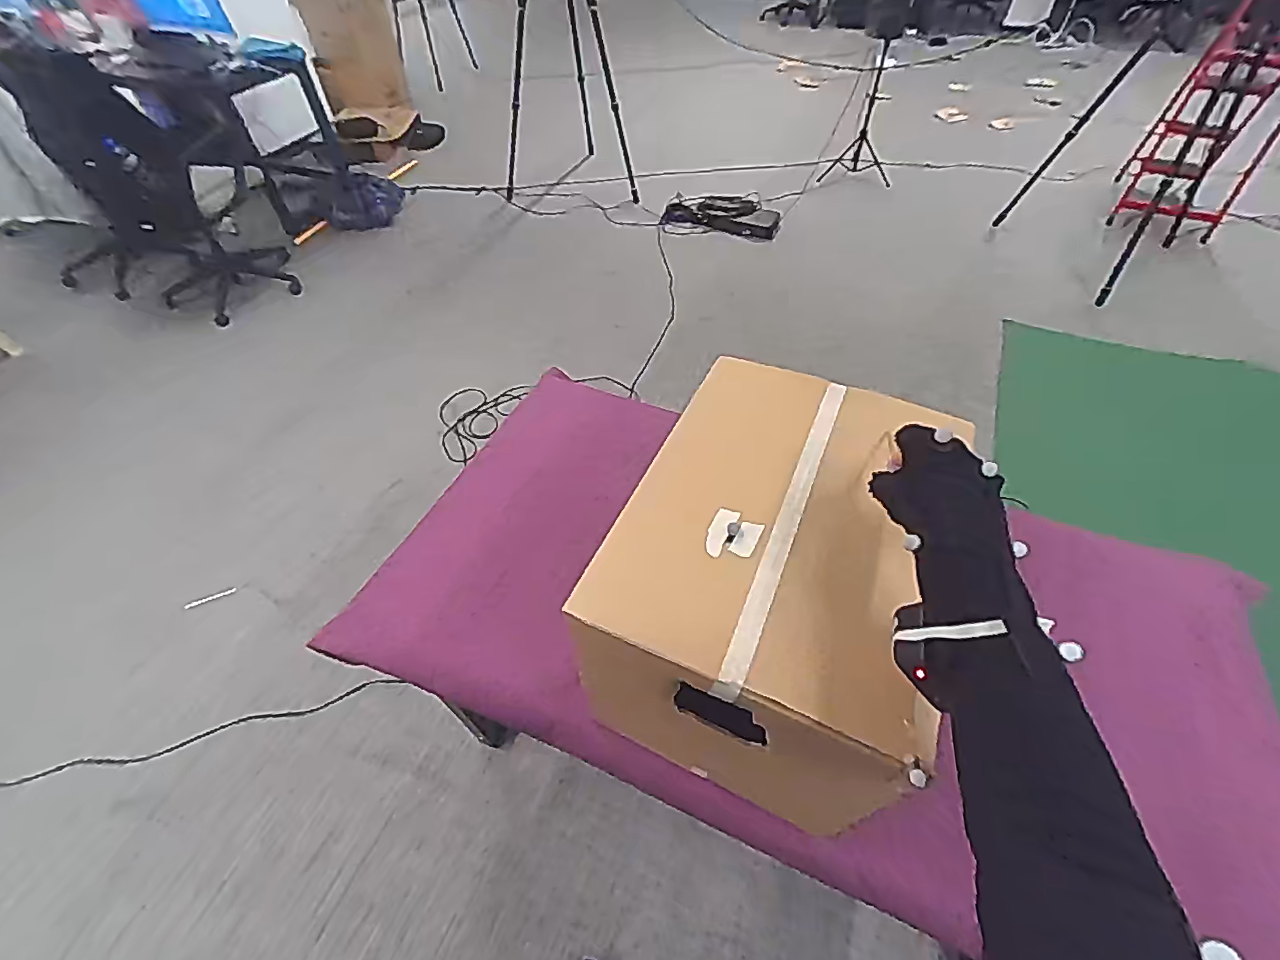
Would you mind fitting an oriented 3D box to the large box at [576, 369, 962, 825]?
[{"bbox_3d":[0.159,0.132,0.680,0.320,0.320,0.408,20,54,17],"label":"large box"}]
